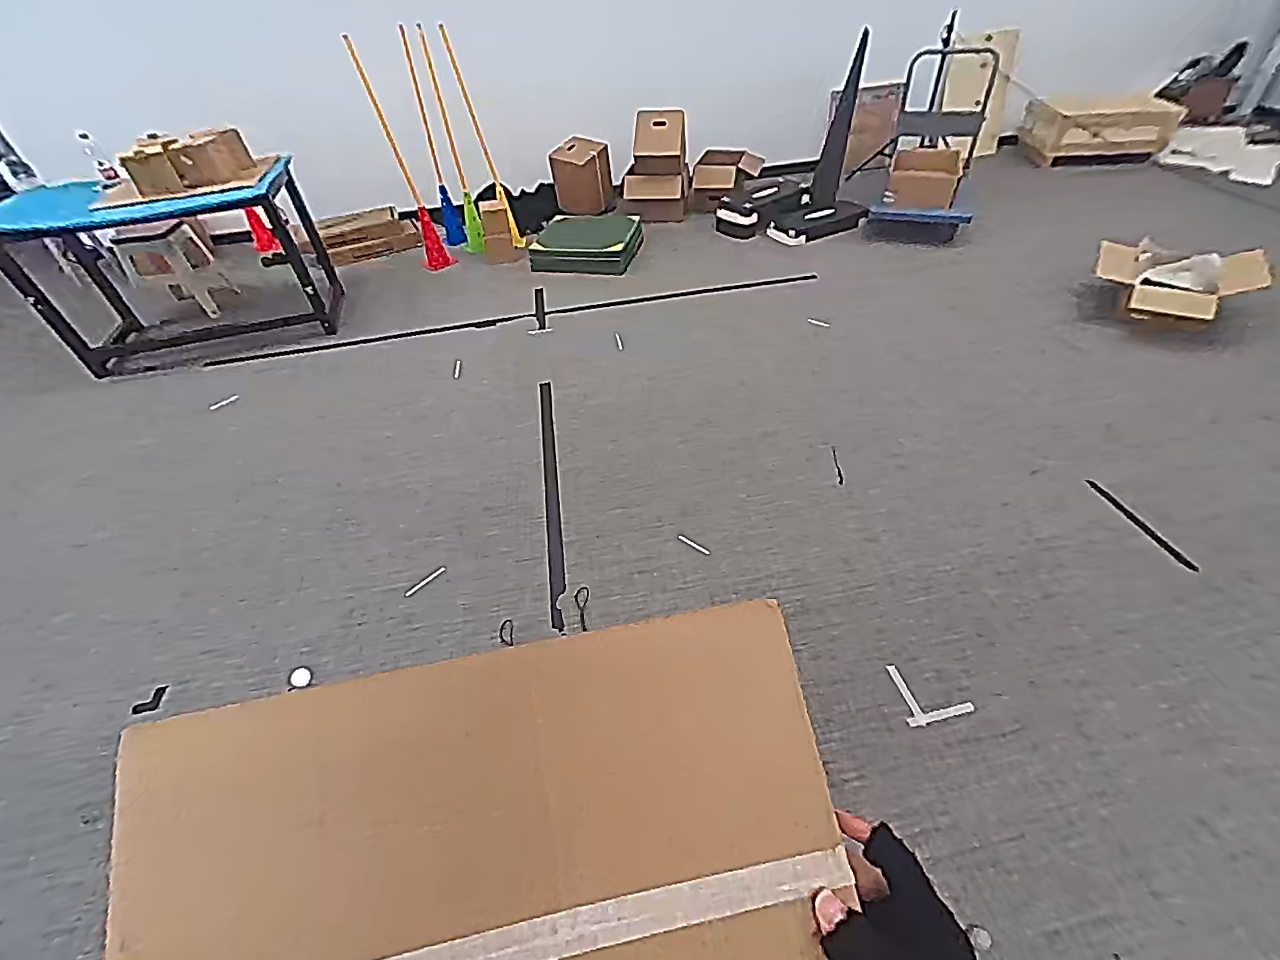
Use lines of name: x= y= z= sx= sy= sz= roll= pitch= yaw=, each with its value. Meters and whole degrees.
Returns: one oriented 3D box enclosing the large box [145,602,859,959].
large box: x=-0.083 y=0.306 z=0.452 sx=0.408 sy=0.320 sz=0.320 roll=-10 pitch=75 yaw=-5
